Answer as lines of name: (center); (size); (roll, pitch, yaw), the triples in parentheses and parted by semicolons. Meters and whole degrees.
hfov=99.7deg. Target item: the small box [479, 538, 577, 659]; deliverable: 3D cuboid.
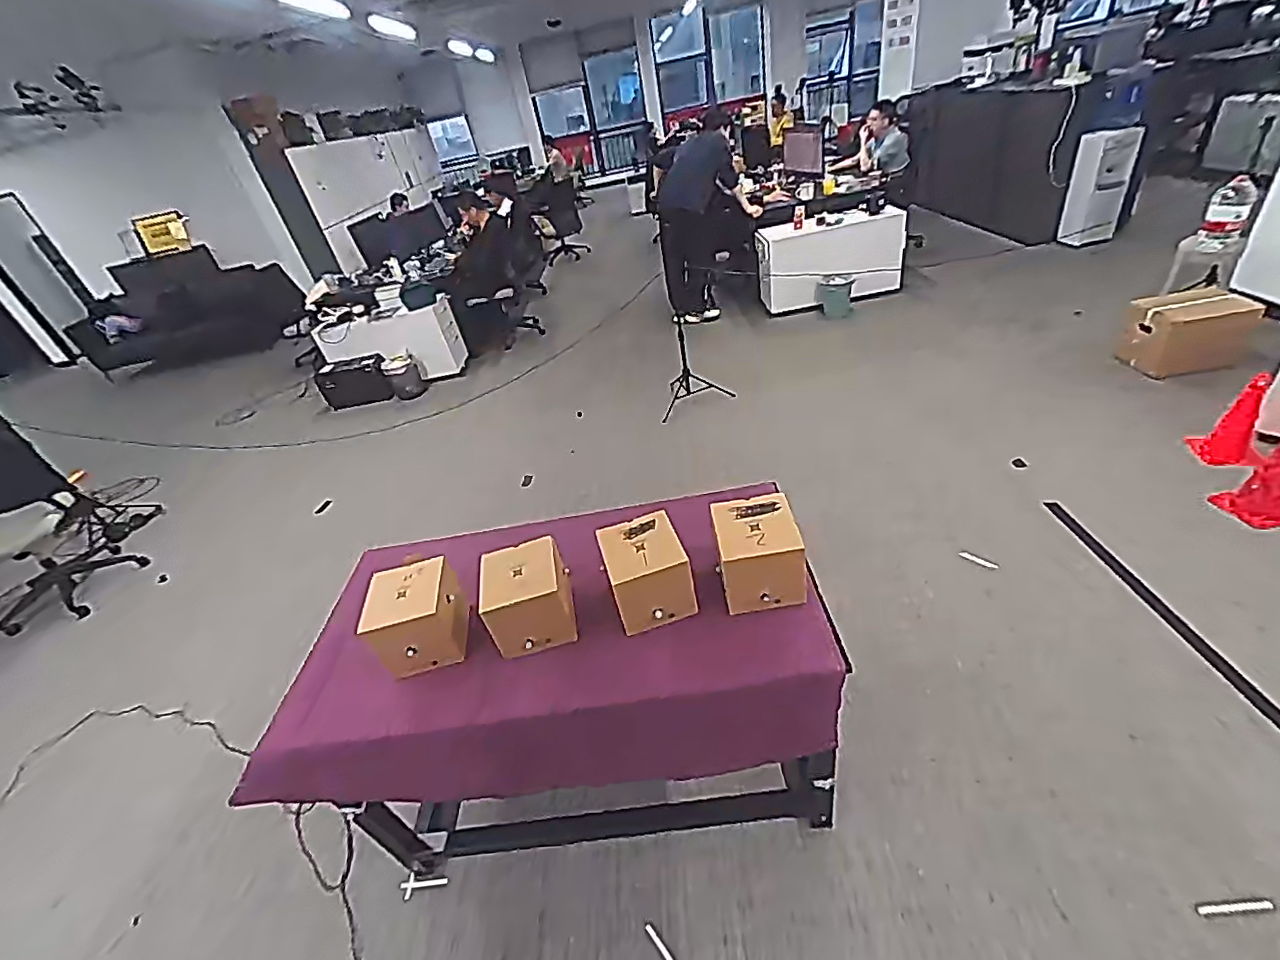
small box: (-0.245, 0.263, 1.202); (0.168, 0.176, 0.179); (-16, 35, -3)

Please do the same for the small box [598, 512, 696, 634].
small box: (0.016, 0.205, 1.197); (0.168, 0.176, 0.179); (-17, 36, -6)

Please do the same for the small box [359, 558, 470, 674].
small box: (-0.494, 0.310, 1.213); (0.168, 0.176, 0.179); (-14, 35, -3)
